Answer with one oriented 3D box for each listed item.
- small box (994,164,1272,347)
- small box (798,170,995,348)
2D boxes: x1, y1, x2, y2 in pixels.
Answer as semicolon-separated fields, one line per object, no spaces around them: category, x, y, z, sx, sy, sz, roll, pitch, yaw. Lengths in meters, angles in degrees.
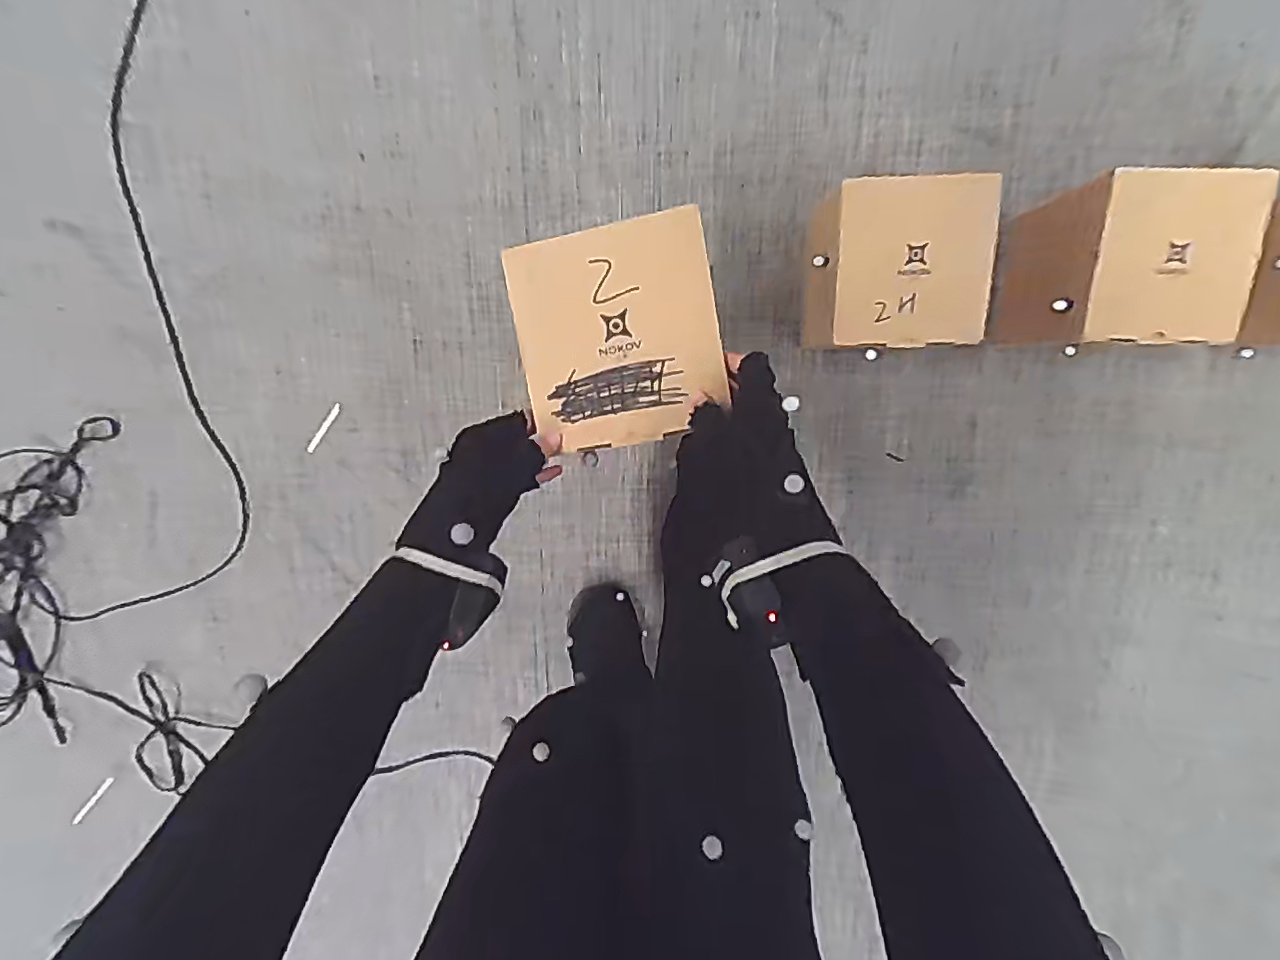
small box;0.563;-0.254;0.648;0.168;0.176;0.179;2;103;3
small box;0.295;-0.255;0.662;0.168;0.176;0.179;0;103;5
